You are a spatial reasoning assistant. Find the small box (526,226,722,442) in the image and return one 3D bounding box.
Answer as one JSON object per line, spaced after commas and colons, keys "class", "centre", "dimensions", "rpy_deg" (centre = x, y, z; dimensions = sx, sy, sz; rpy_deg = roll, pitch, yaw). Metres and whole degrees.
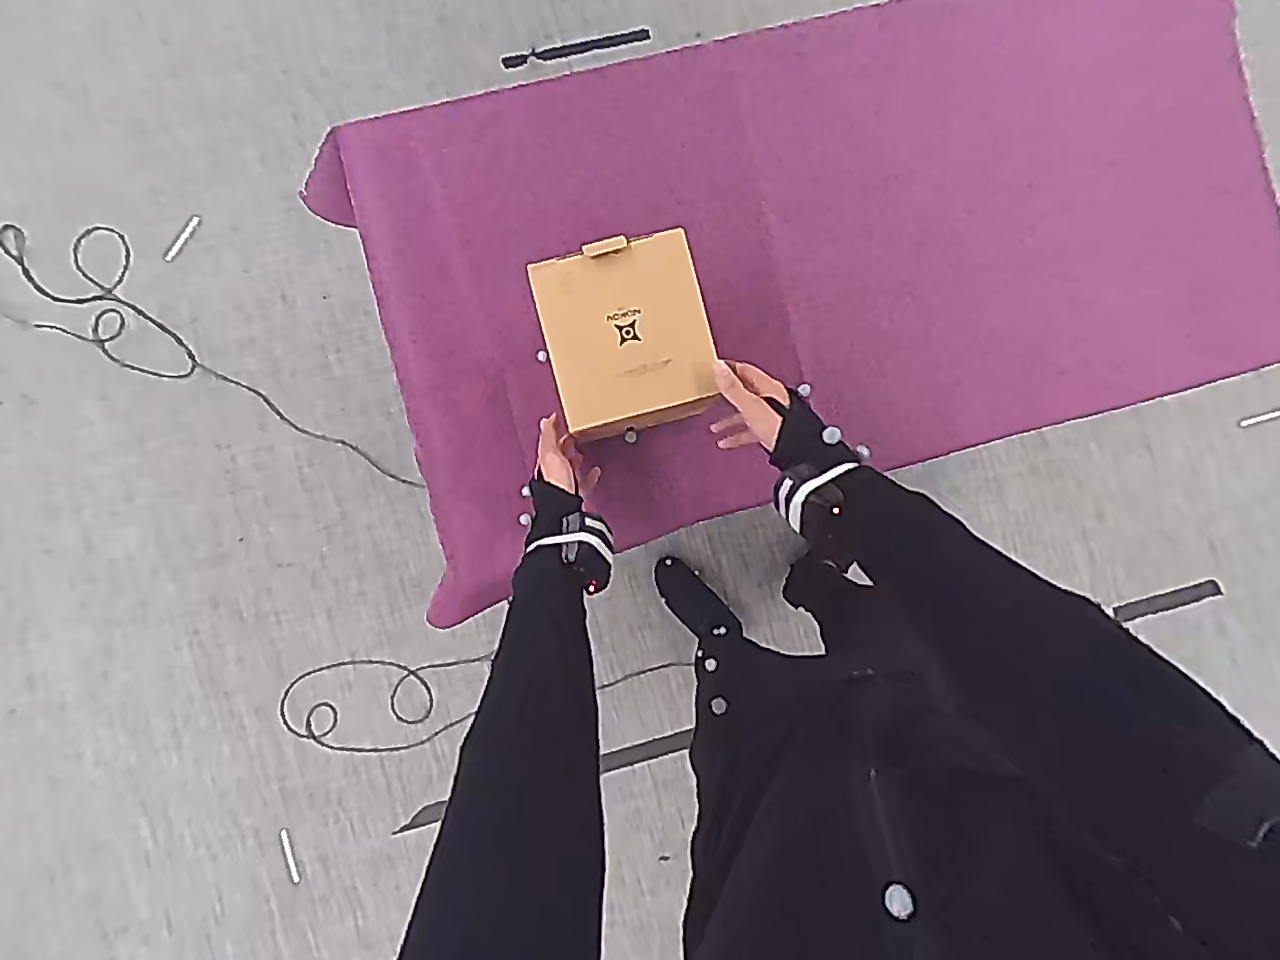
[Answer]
{"class": "small box", "centre": [-0.019, -0.151, 0.615], "dimensions": [0.168, 0.176, 0.179], "rpy_deg": [-14, 90, -2]}
